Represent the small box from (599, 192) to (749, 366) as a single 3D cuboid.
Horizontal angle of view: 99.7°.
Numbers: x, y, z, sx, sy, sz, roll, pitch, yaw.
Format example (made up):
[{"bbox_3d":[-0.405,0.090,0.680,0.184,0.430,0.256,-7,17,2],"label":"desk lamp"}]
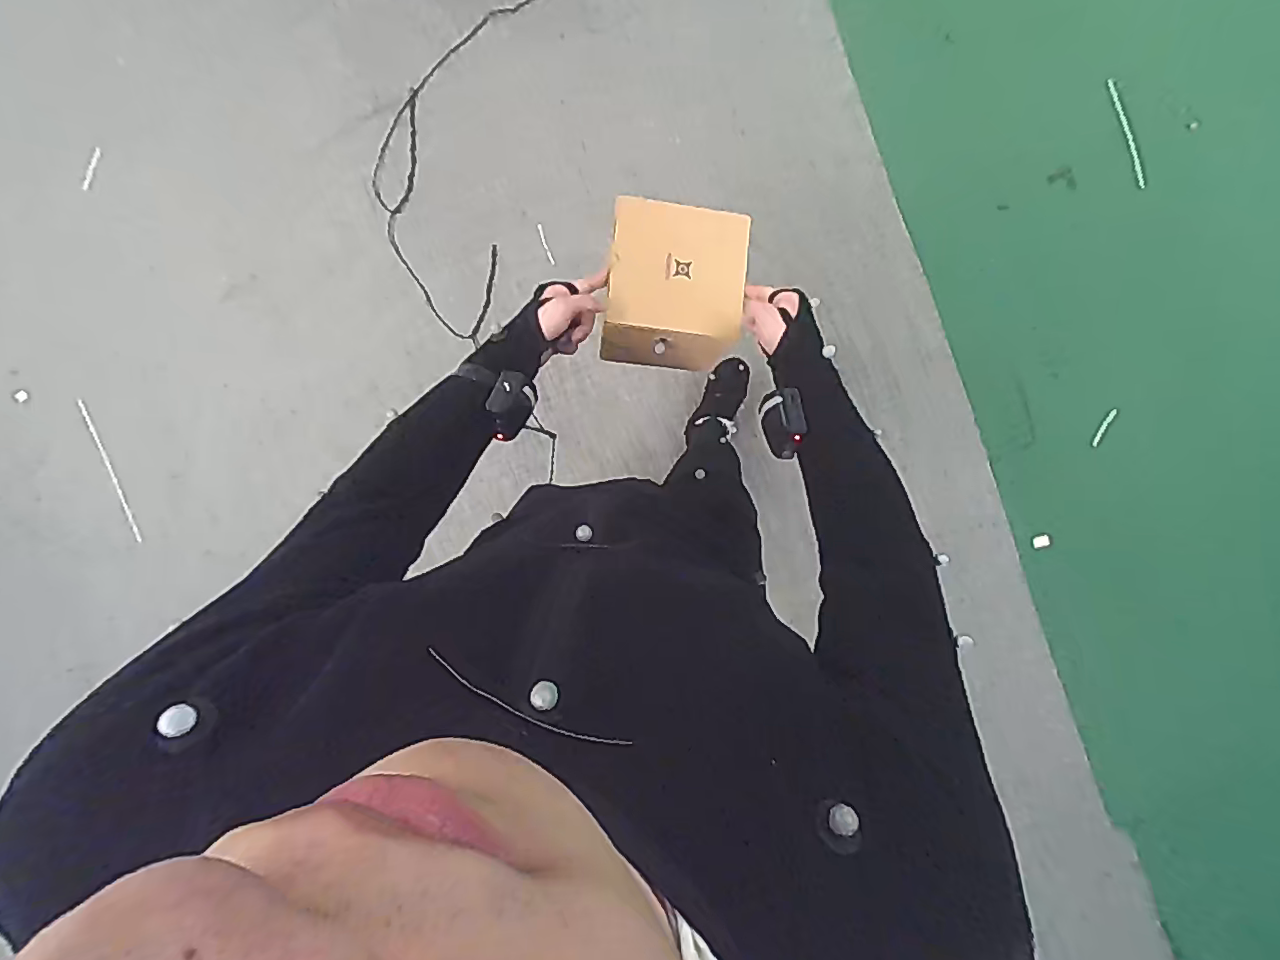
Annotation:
[{"bbox_3d":[0.039,-0.265,0.755,0.179,0.176,0.168,5,85,-6],"label":"small box"}]
